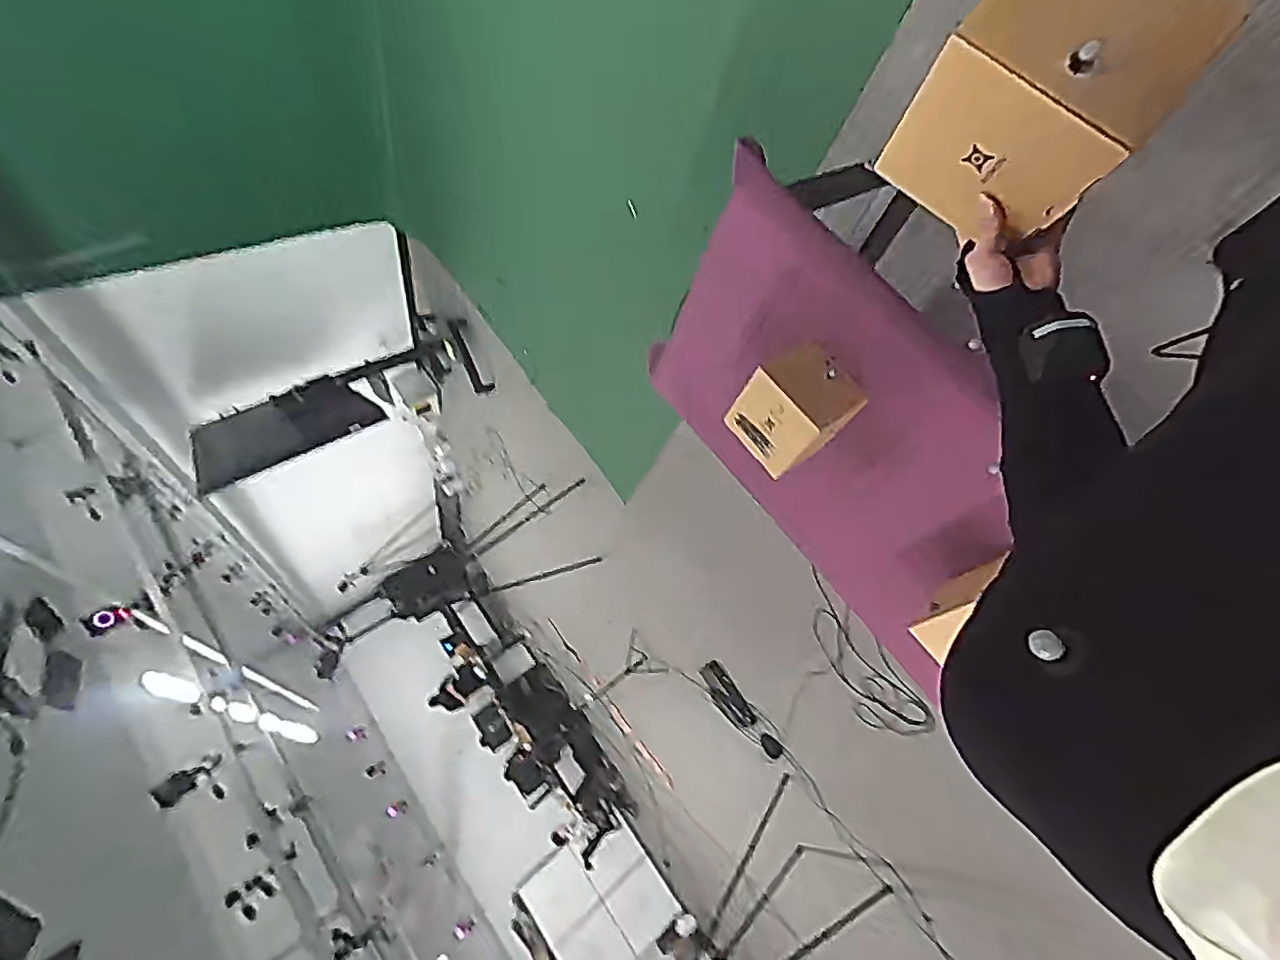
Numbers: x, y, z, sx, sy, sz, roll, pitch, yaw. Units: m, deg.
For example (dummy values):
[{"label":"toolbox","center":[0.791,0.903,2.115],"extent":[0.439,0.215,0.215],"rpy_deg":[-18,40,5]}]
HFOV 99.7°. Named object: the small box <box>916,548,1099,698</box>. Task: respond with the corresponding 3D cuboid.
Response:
[{"label":"small box","center":[0.639,0.249,0.946],"extent":[0.168,0.176,0.179],"rpy_deg":[51,150,16]}]
